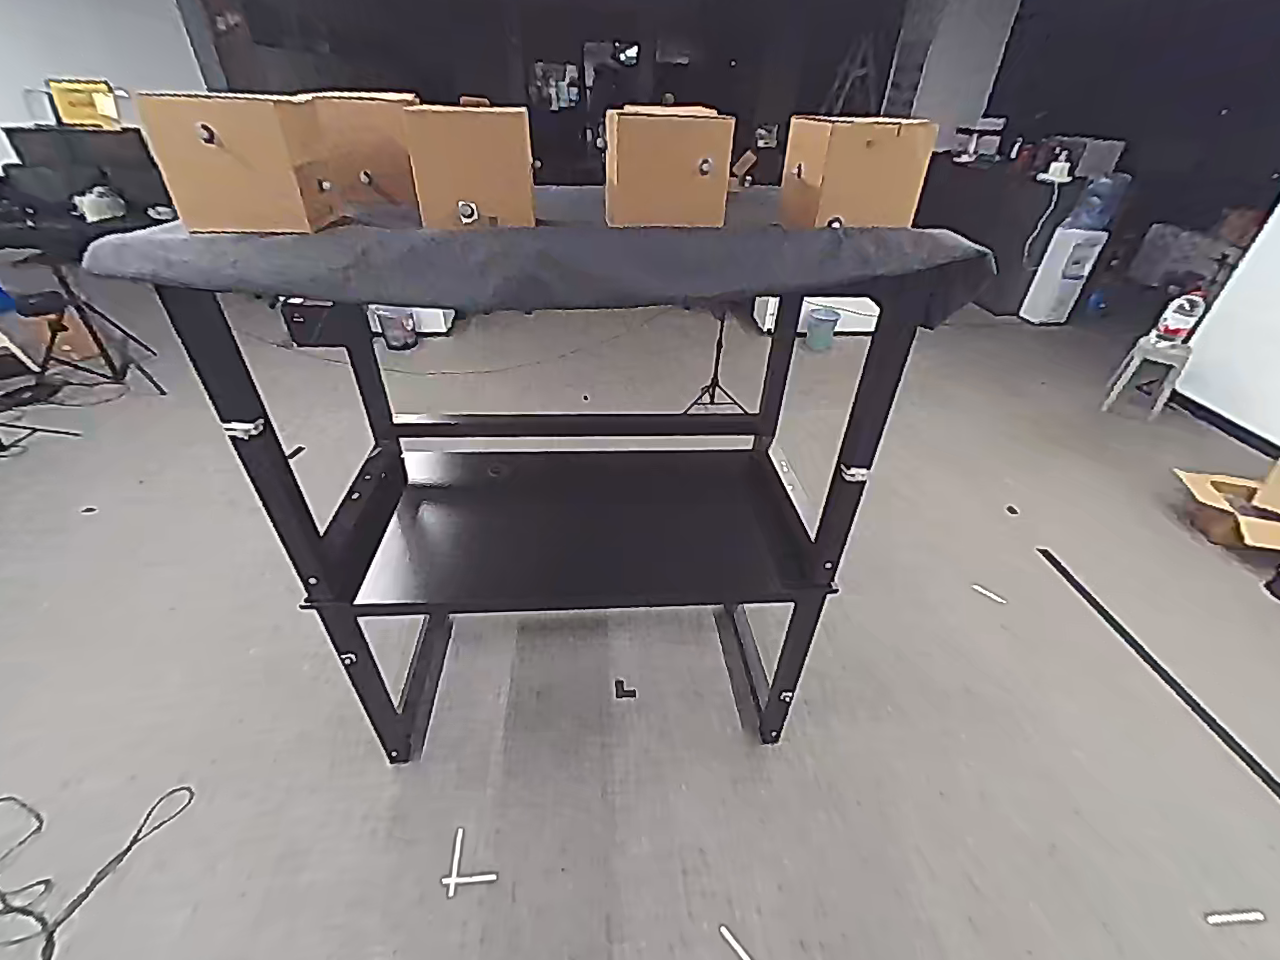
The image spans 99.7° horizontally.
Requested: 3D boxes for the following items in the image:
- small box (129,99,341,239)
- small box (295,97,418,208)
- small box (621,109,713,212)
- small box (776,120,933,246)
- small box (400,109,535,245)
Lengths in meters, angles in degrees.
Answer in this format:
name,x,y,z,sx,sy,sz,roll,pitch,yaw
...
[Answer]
name,x,y,z,sx,sy,sz,roll,pitch,yaw
small box,-0.587,-0.467,0.815,0.179,0.176,0.168,-3,35,-8
small box,-0.526,-0.637,1.055,0.179,0.176,0.168,-2,36,-7
small box,0.049,-0.658,1.114,0.168,0.176,0.179,-2,36,-5
small box,0.339,-0.490,0.892,0.168,0.176,0.179,-3,35,-7
small box,-0.256,-0.475,0.846,0.168,0.176,0.179,-5,35,-8
